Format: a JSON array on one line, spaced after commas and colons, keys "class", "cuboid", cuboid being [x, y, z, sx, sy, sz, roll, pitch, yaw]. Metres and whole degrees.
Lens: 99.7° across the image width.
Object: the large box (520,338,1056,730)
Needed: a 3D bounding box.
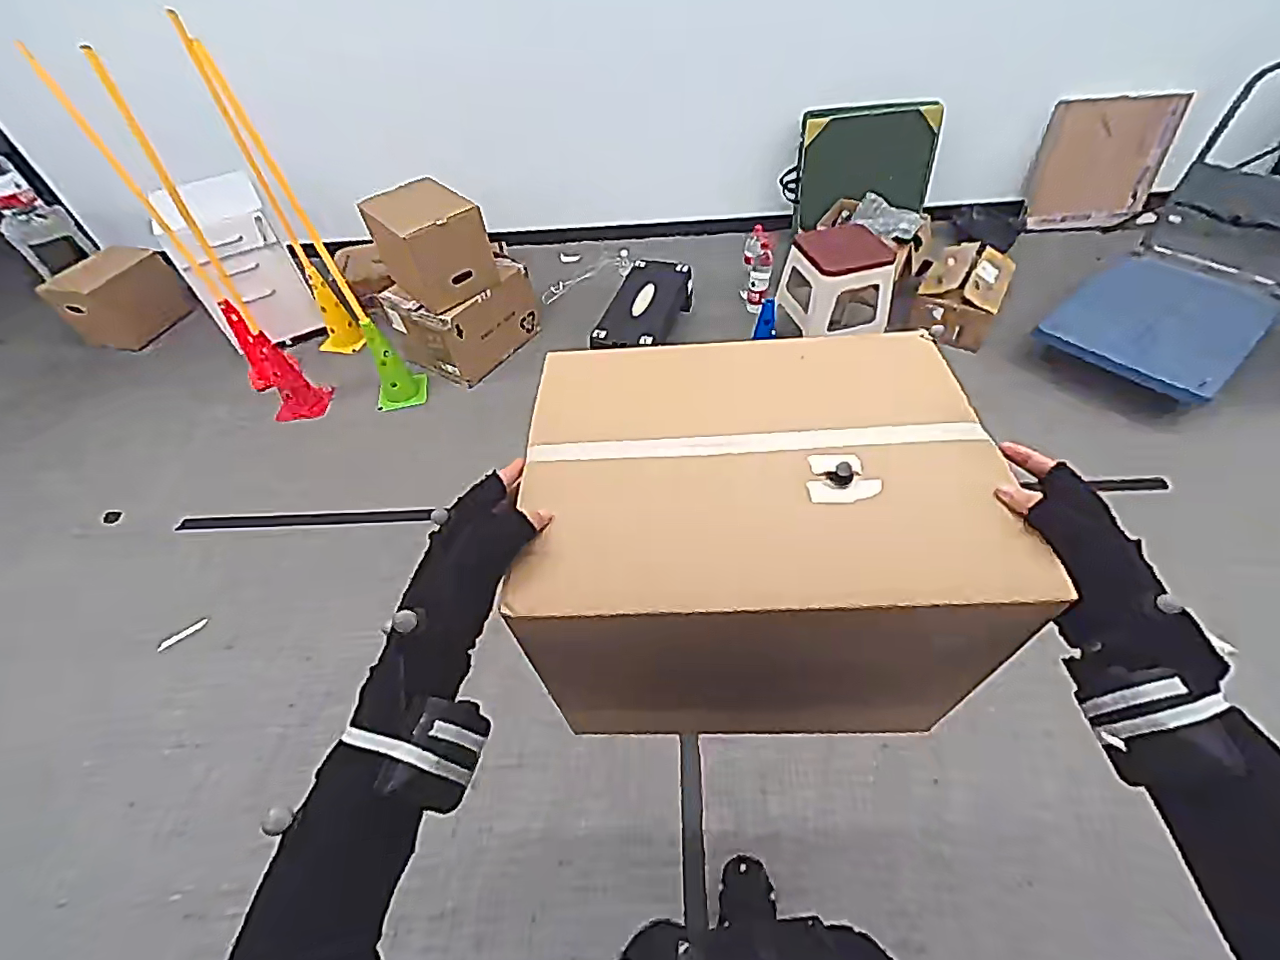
[{"class": "large box", "cuboid": [0.112, 0.068, 0.605, 0.408, 0.320, 0.320, -2, 50, 3]}]
